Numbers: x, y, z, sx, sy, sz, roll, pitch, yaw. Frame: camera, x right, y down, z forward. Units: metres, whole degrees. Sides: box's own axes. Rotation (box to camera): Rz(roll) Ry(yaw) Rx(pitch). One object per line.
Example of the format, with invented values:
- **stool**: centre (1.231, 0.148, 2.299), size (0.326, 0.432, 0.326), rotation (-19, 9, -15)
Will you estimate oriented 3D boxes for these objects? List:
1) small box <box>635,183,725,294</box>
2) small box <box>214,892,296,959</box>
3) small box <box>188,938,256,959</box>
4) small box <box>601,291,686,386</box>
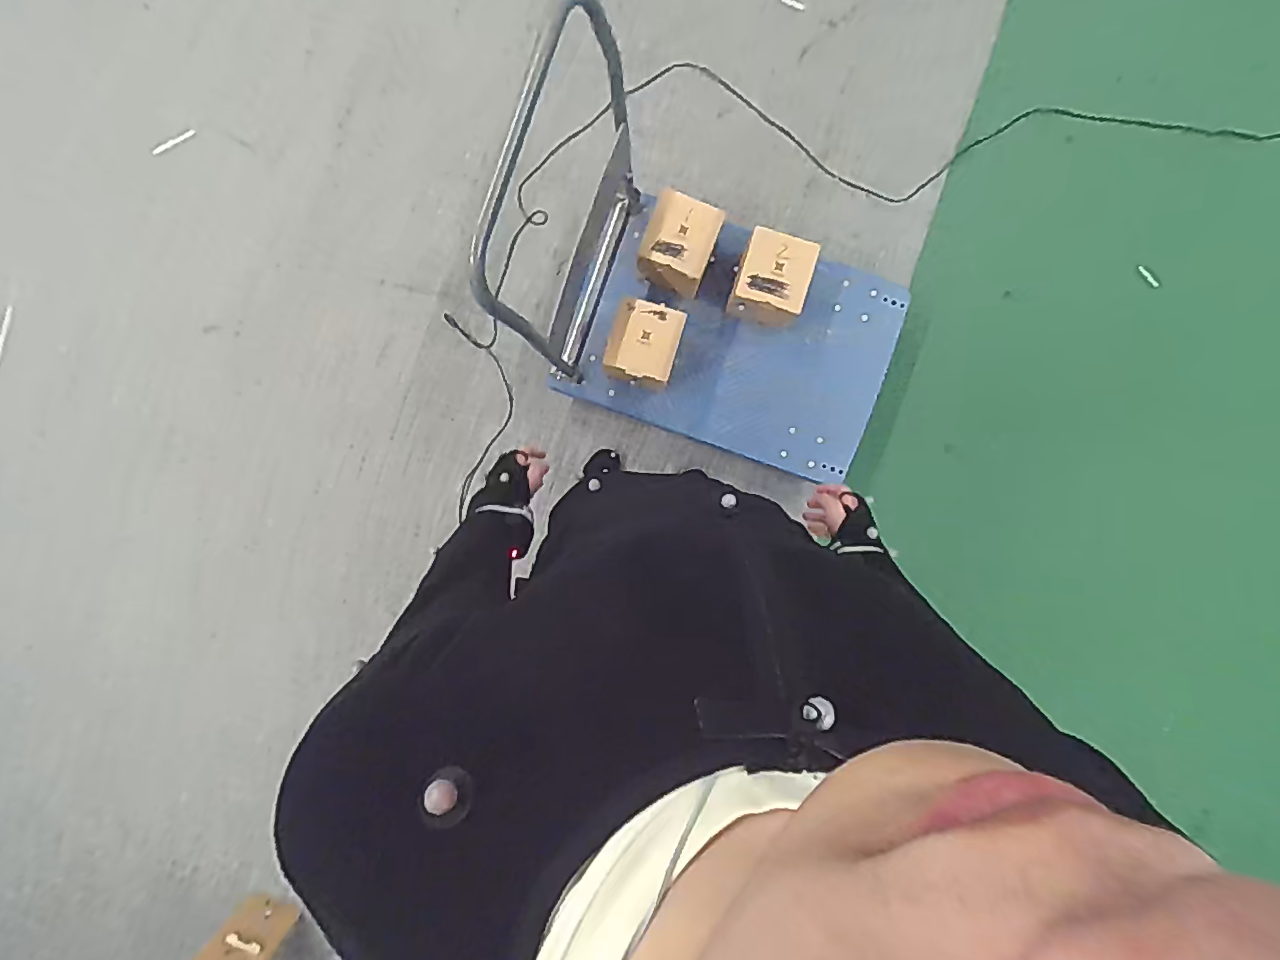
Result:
- **small box**: centre (0.096, -0.594, 1.359), size (0.168, 0.176, 0.179), rotation (22, 91, -2)
- **small box**: centre (-1.165, 1.384, 1.596), size (0.168, 0.176, 0.179), rotation (31, 90, -4)
- **small box**: centre (-1.170, 1.390, 1.436), size (0.168, 0.176, 0.179), rotation (25, 91, -1)
- **small box**: centre (0.008, -0.346, 1.367), size (0.168, 0.176, 0.179), rotation (17, 92, -2)
